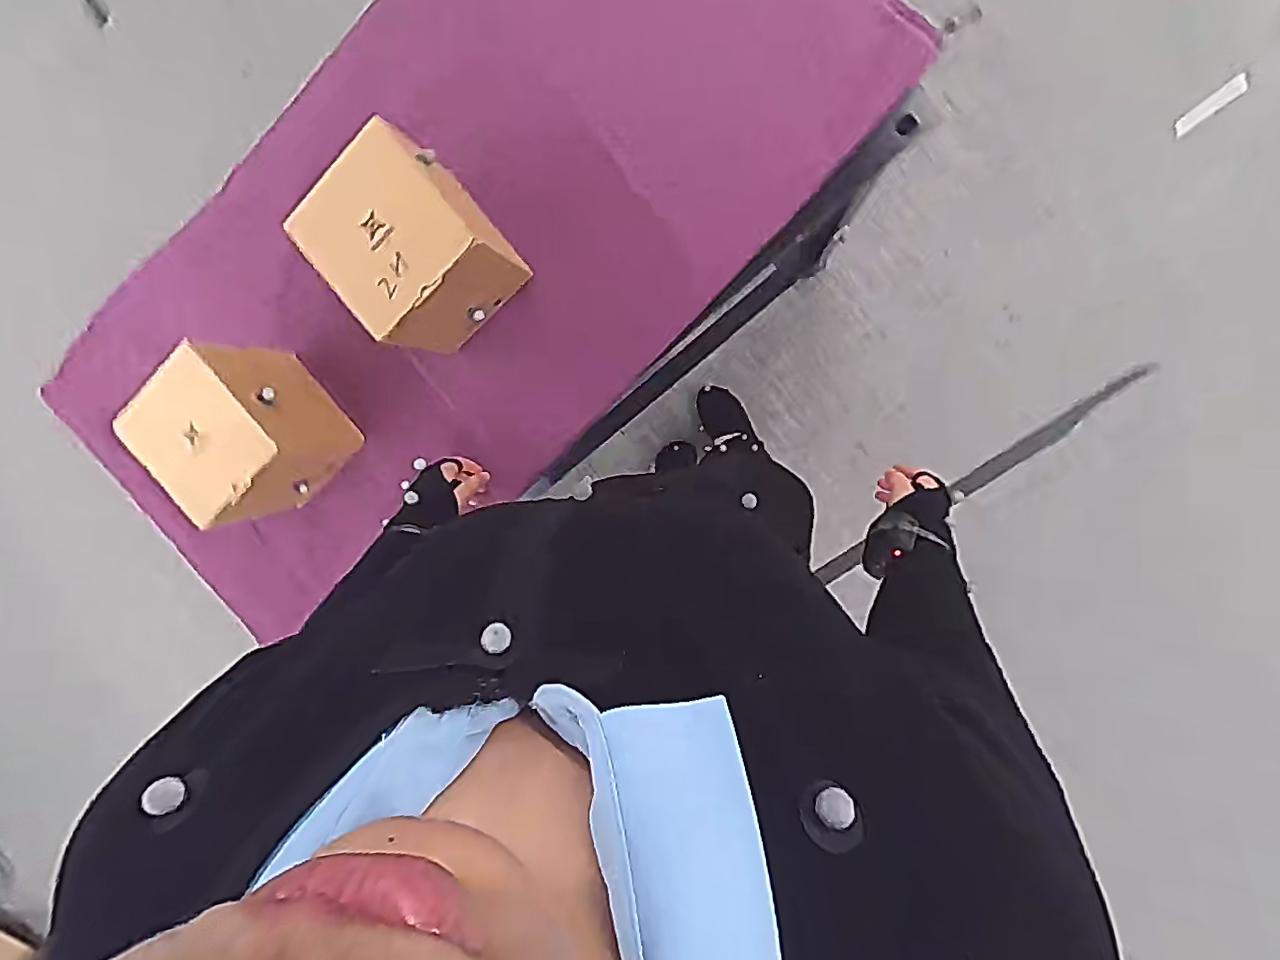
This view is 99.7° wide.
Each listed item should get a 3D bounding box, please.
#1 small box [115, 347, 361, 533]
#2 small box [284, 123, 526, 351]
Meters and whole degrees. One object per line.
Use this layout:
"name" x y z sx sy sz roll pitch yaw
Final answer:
"small box" -0.540 -0.056 0.749 0.168 0.176 0.179 -41 91 12
"small box" -0.276 -0.279 0.671 0.168 0.176 0.179 -40 90 13
